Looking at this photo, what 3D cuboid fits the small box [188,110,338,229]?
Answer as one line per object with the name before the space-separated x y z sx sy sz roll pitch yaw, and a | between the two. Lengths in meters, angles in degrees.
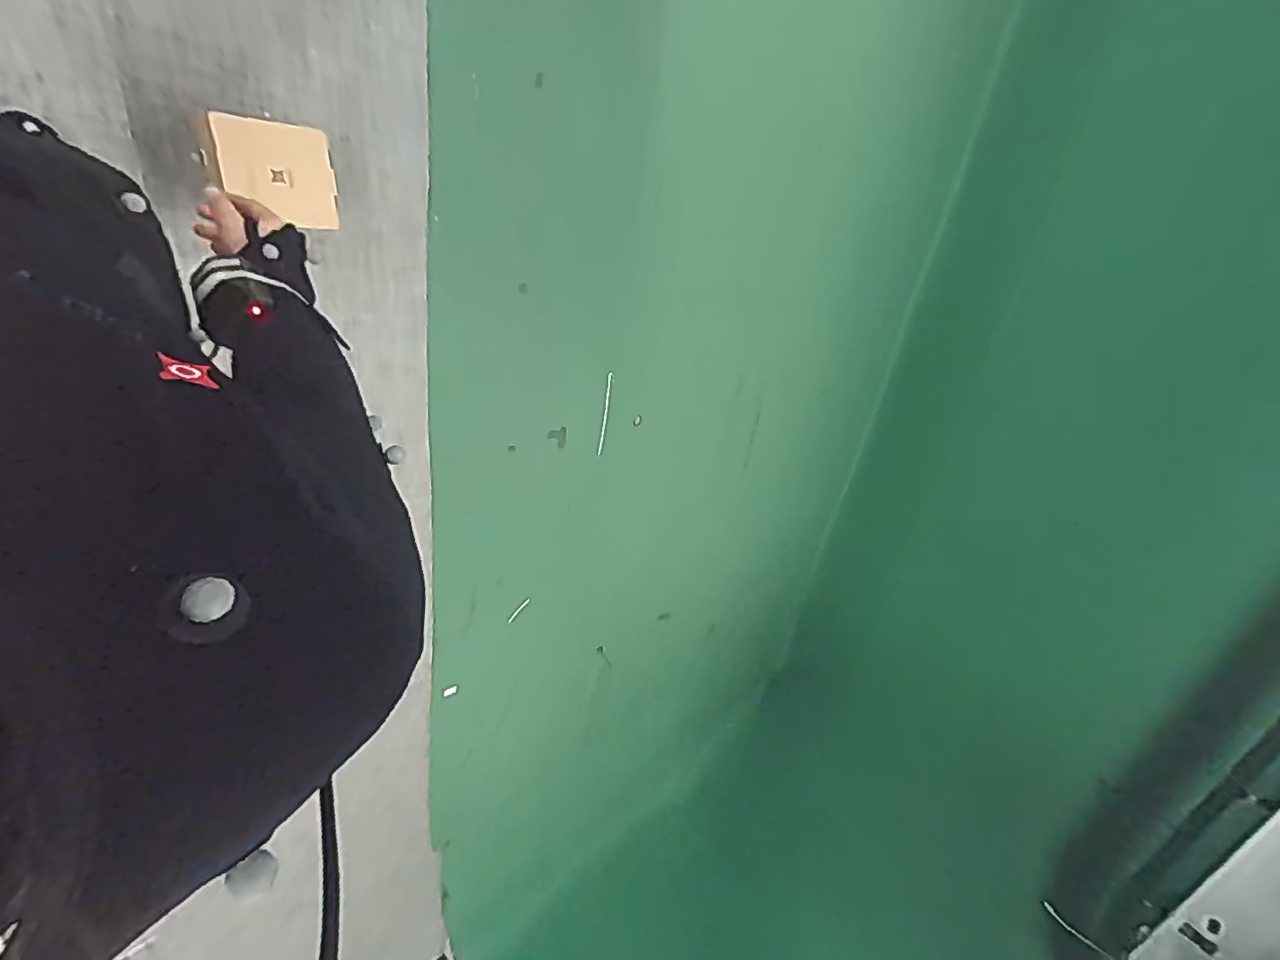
small box | -0.684 -0.563 0.987 0.179 0.176 0.168 -19 127 -40
